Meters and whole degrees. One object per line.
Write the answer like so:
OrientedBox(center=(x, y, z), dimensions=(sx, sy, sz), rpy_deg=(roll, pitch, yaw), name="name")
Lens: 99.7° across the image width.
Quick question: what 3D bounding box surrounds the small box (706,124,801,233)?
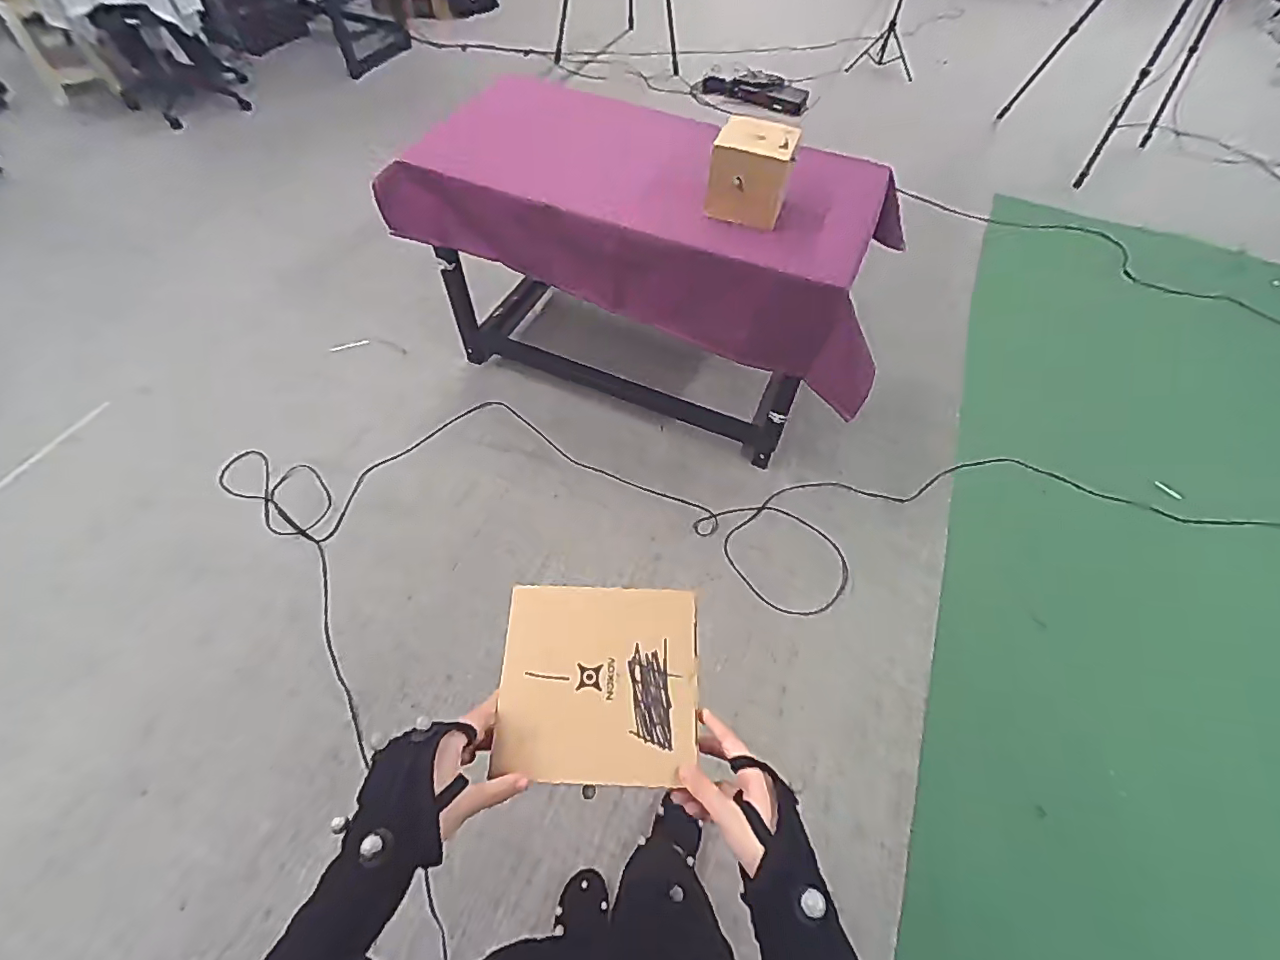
OrientedBox(center=(0.269, -0.727, 1.311), dimensions=(0.179, 0.176, 0.168), rpy_deg=(18, 57, 11), name="small box")
